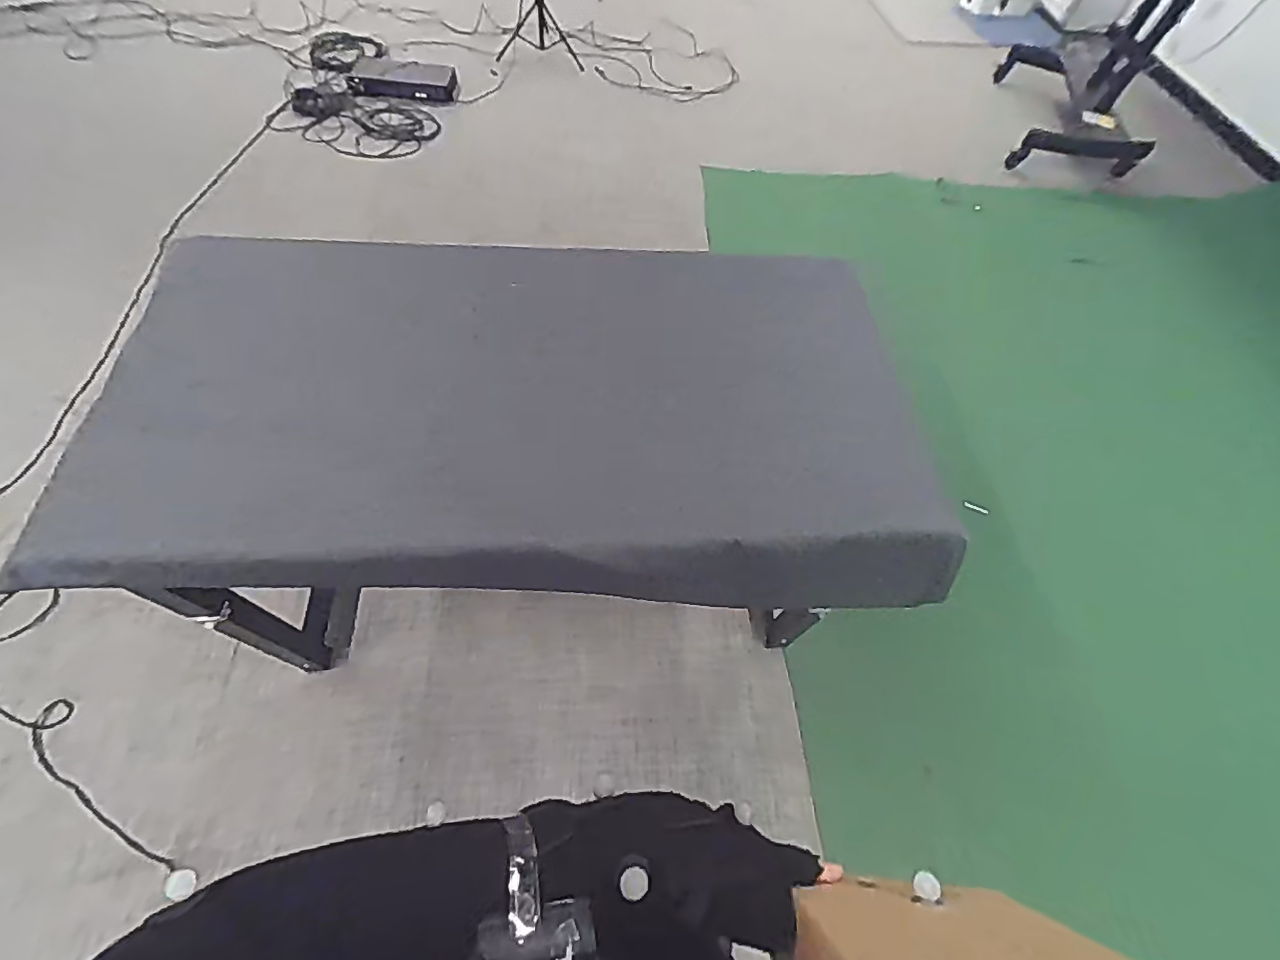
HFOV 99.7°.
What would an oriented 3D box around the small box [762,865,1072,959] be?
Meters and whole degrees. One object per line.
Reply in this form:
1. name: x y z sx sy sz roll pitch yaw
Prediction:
1. small box: 0.163 0.343 0.292 0.168 0.176 0.179 7 67 2
